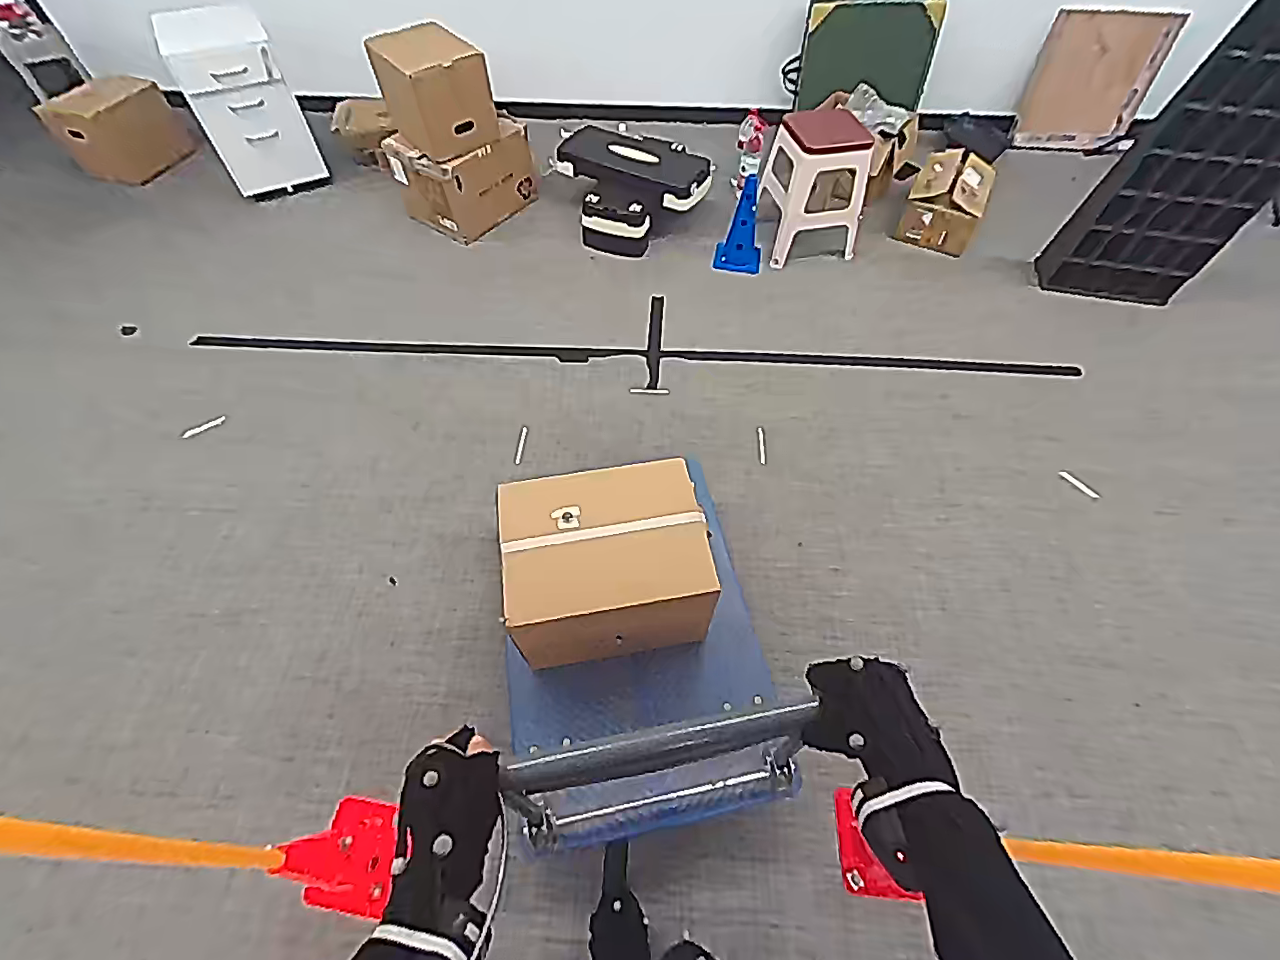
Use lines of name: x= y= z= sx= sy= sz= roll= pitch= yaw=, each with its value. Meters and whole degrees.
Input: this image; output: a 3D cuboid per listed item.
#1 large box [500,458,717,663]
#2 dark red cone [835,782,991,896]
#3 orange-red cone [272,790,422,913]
large box: x=-0.072 y=0.188 z=1.205 sx=0.408 sy=0.320 sz=0.320 roll=-9 pitch=57 yaw=-5
dark red cone: x=0.541 y=0.685 z=1.039 sx=0.201 sy=0.394 sz=0.202 roll=4 pitch=57 yaw=0
orange-red cone: x=-0.593 y=0.702 z=1.032 sx=0.198 sy=0.360 sz=0.199 roll=10 pitch=55 yaw=5
